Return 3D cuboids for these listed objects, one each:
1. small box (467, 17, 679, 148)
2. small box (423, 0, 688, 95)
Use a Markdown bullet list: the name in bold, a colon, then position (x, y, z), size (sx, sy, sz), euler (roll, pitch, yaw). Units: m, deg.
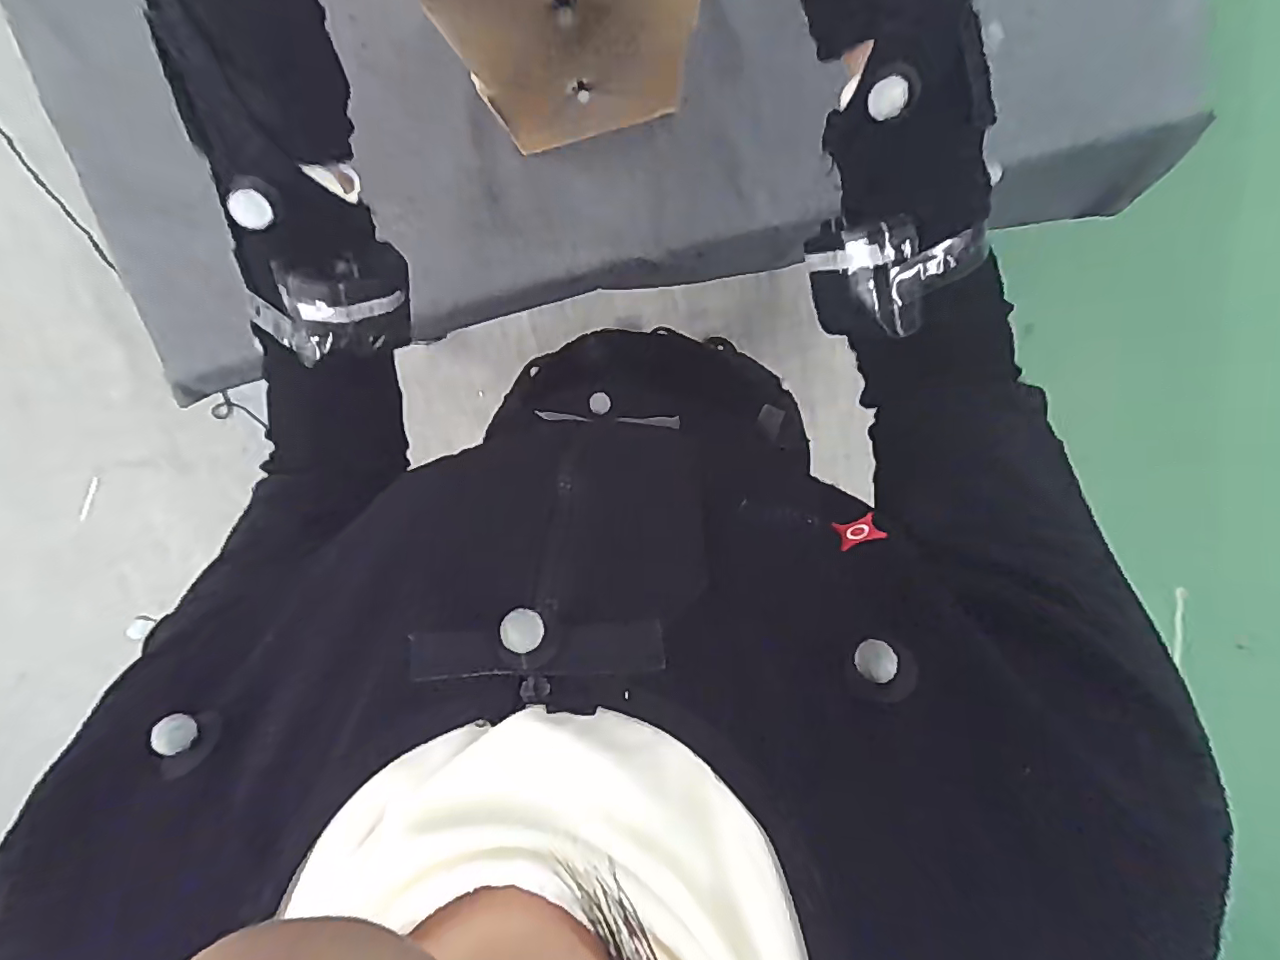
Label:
- **small box**: position (-0.067, -0.432, 0.491), size (0.179, 0.176, 0.168), euler (-13, 105, 4)
- **small box**: position (-0.062, -0.383, 0.335), size (0.179, 0.176, 0.168), euler (-17, 105, 6)
